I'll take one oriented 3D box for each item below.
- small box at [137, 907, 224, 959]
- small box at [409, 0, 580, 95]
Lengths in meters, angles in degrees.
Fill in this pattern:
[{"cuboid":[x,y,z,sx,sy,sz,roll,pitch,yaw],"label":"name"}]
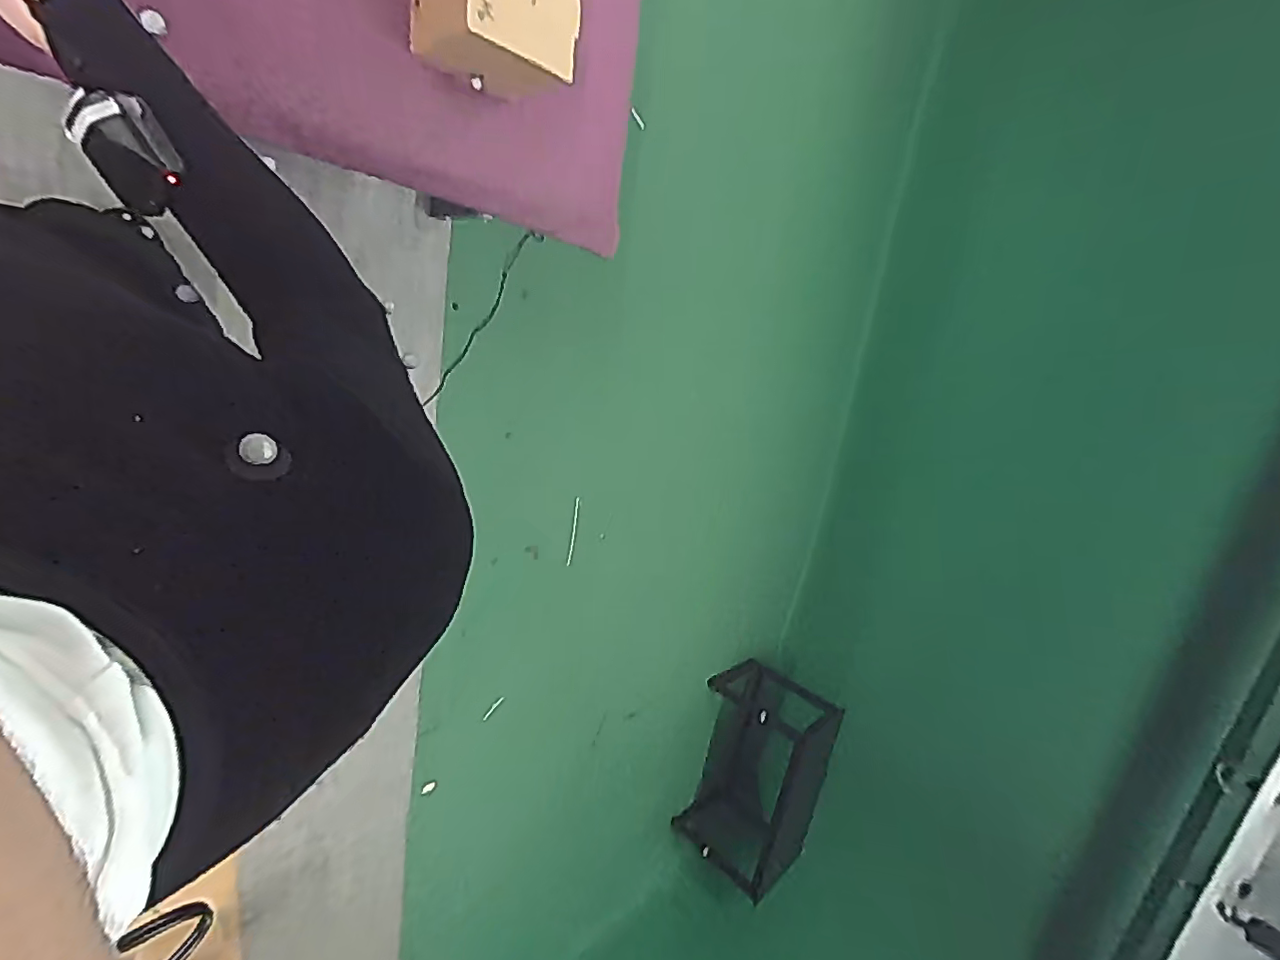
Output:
[{"cuboid":[-1.353,1.421,1.589,0.179,0.176,0.168,1,106,-47],"label":"small box"},{"cuboid":[-0.208,-0.685,0.779,0.179,0.176,0.168,-8,112,-46],"label":"small box"}]
